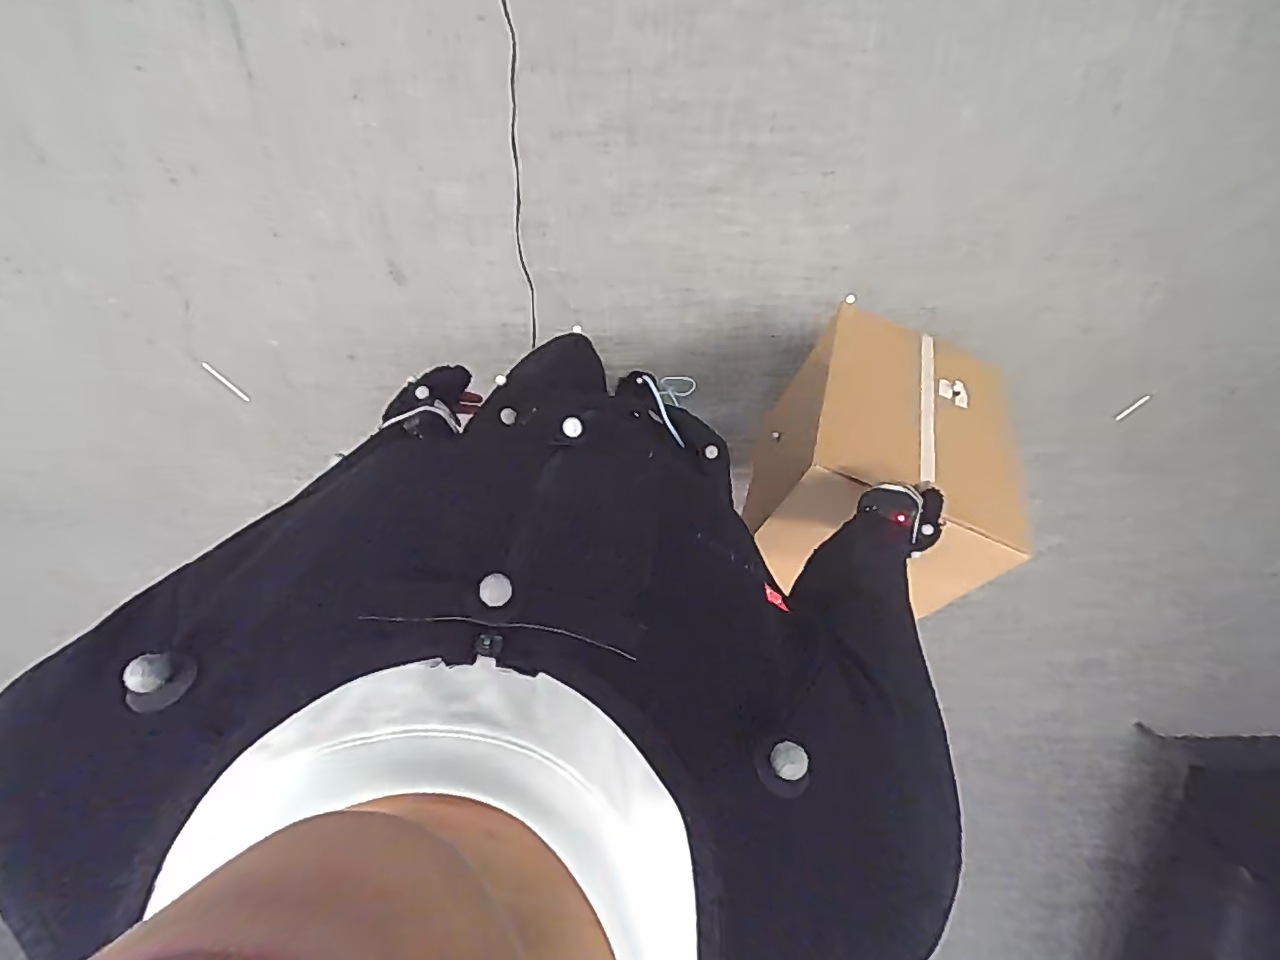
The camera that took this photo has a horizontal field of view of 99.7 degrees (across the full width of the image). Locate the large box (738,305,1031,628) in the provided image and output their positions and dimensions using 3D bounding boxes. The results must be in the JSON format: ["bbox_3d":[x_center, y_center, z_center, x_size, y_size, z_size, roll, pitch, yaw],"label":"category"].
[{"bbox_3d":[0.398,-0.021,0.944,0.320,0.408,0.320,24,142,0],"label":"large box"}]
